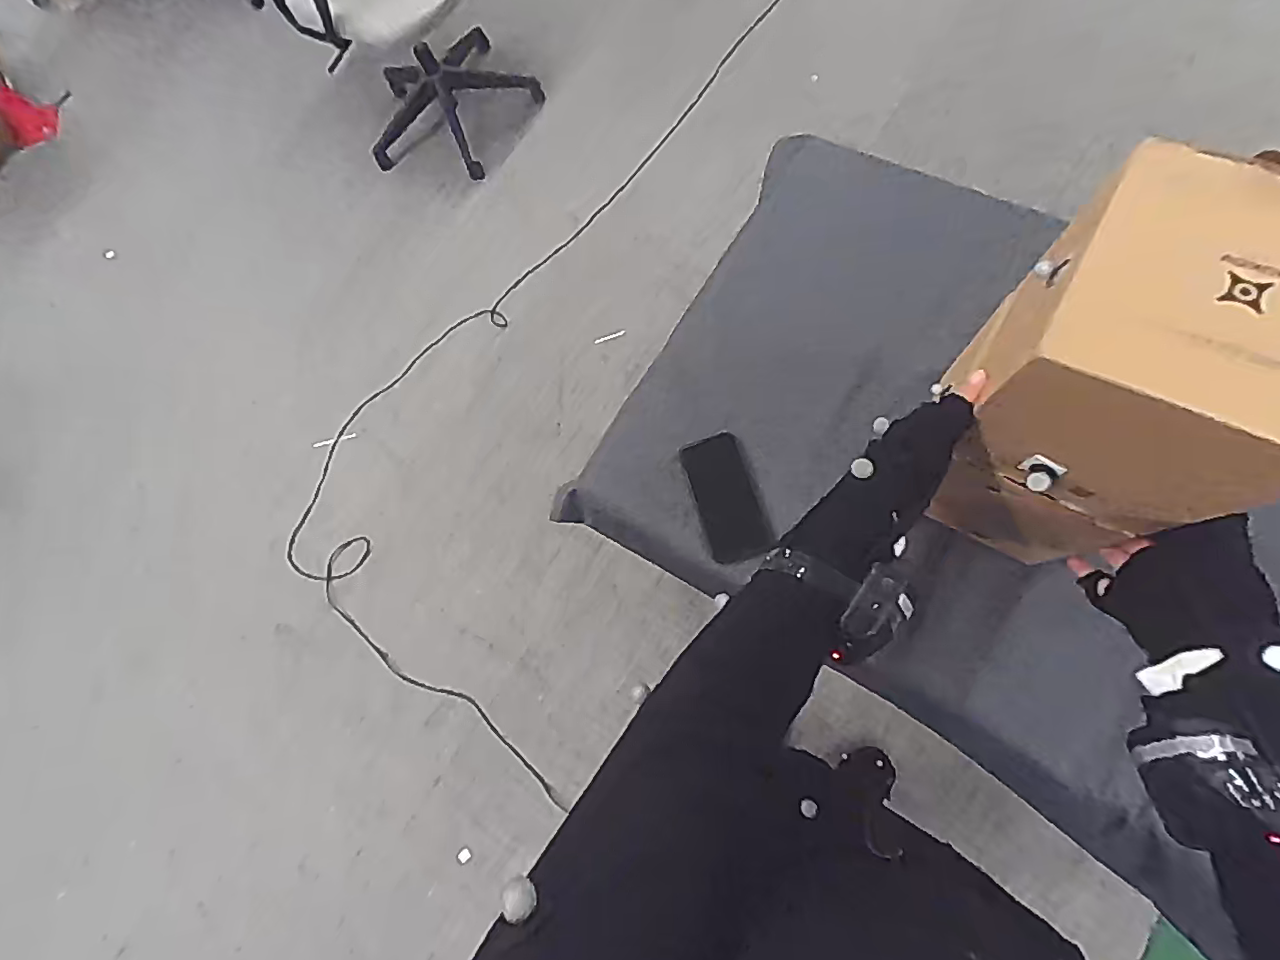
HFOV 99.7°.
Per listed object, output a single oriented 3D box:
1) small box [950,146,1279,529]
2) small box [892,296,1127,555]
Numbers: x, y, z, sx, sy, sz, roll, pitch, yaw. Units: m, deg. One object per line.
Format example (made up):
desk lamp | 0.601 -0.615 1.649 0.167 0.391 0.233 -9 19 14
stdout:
small box | 0.361 -0.087 0.392 0.168 0.176 0.179 28 81 17
small box | 0.380 -0.042 0.546 0.168 0.176 0.179 29 80 16
